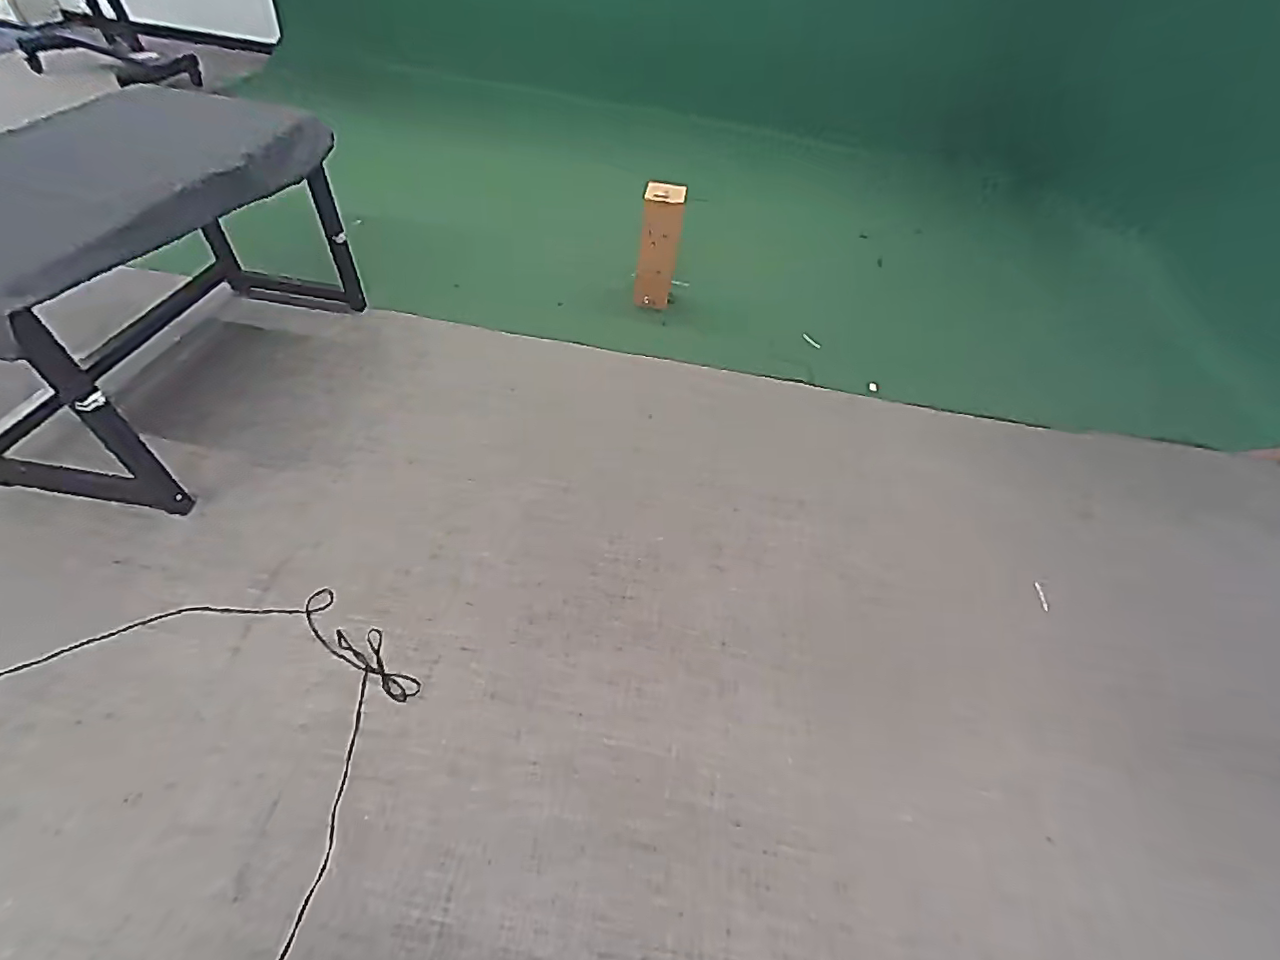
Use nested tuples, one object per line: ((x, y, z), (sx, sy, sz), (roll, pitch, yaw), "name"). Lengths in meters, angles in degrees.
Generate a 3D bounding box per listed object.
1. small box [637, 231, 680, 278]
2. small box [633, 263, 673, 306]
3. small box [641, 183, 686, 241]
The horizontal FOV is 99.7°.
((0.081, -1.050, 2.463), (0.168, 0.176, 0.179), (11, 48, 2), "small box")
((0.063, -0.956, 2.572), (0.168, 0.176, 0.179), (10, 49, 4), "small box")
((0.099, -1.158, 2.340), (0.168, 0.176, 0.179), (10, 48, 1), "small box")
